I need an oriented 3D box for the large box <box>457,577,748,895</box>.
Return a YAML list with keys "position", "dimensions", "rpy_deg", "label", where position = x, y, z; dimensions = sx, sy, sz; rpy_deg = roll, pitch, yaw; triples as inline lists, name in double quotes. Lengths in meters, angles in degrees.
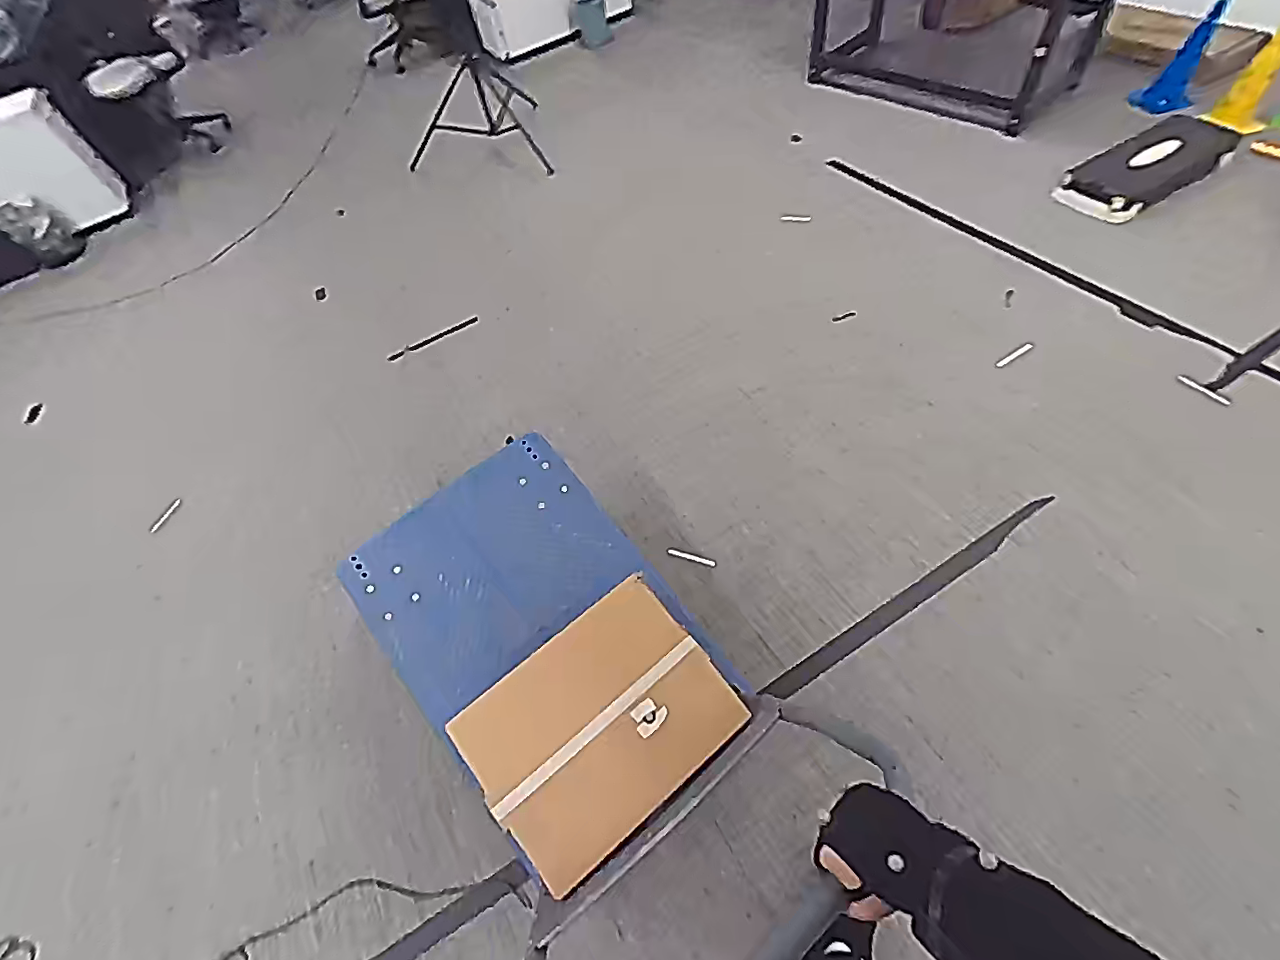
- position: [-0.067, 0.459, 1.042]
  dimensions: [0.408, 0.320, 0.320]
  rpy_deg: [-38, 76, -16]
  label: "large box"
